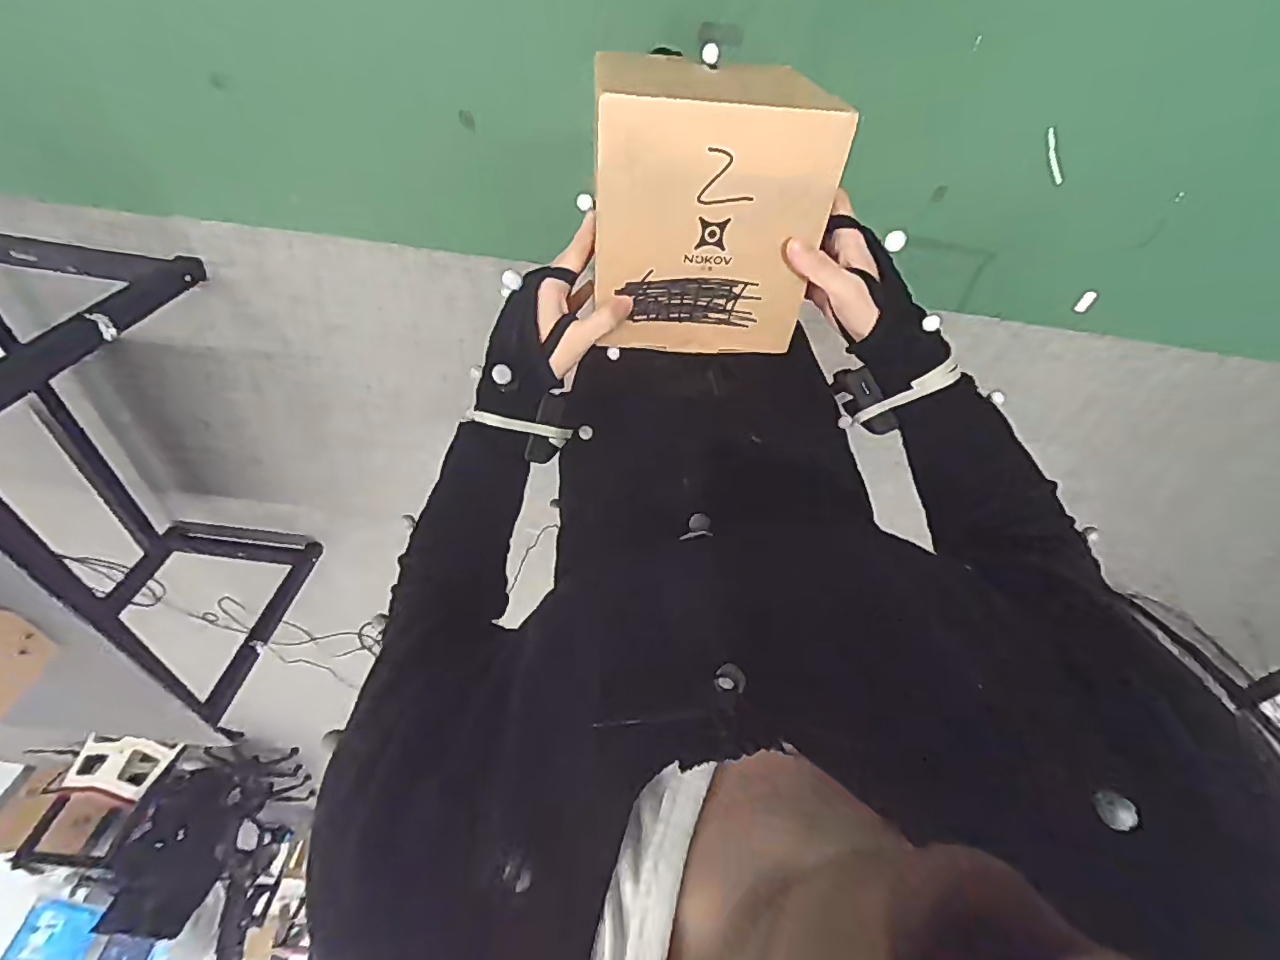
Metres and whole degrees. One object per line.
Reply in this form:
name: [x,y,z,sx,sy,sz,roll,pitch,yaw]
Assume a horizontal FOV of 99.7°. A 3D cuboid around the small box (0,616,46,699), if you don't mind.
small box: [-1.412,0.378,1.104,0.179,0.176,0.168,8,134,-3]
